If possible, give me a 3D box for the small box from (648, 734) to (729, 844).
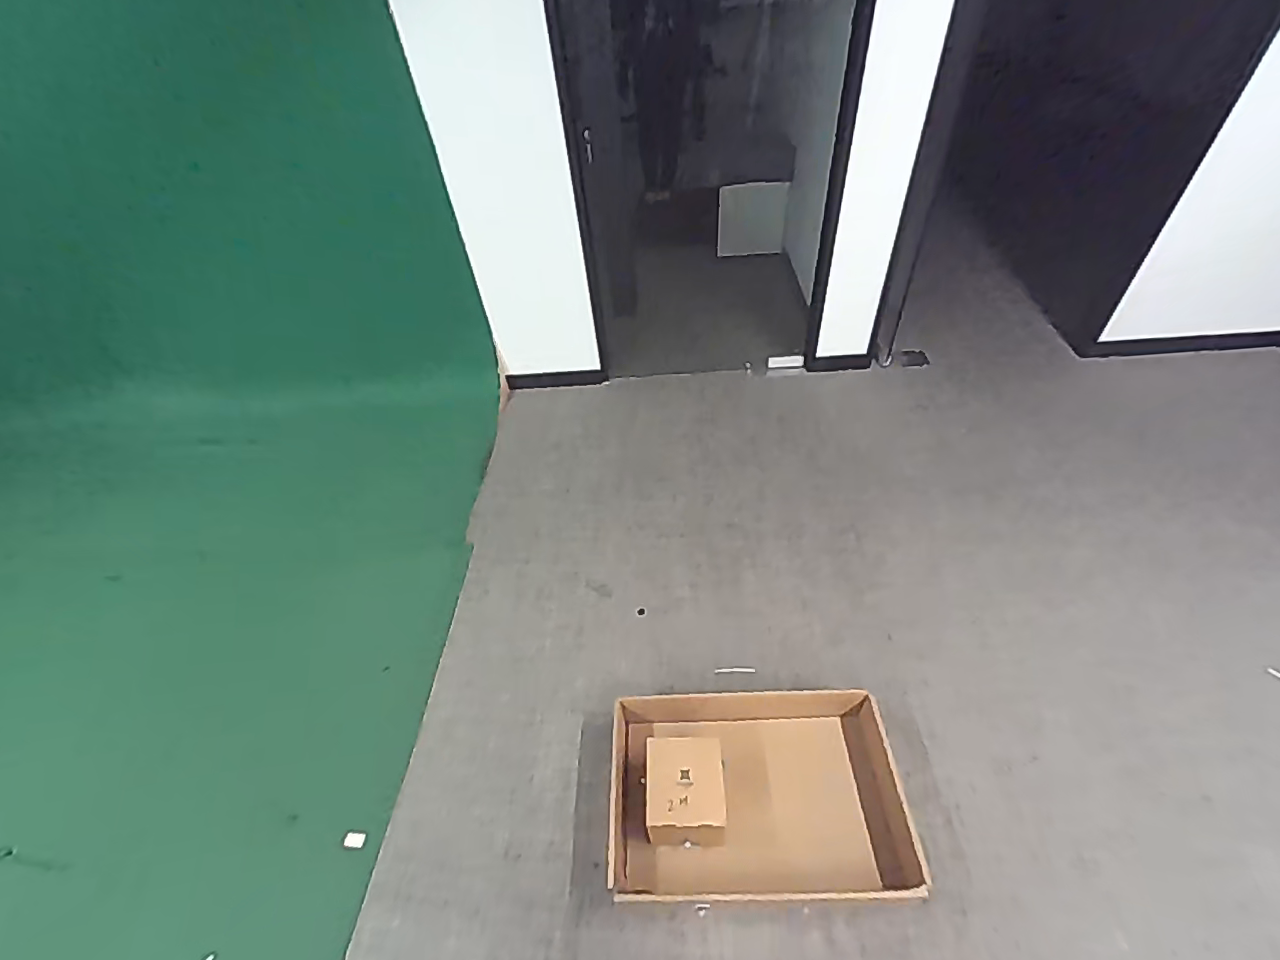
[{"bbox_3d":[0.106,0.688,1.206,0.168,0.176,0.179,-2,45,4],"label":"small box"}]
